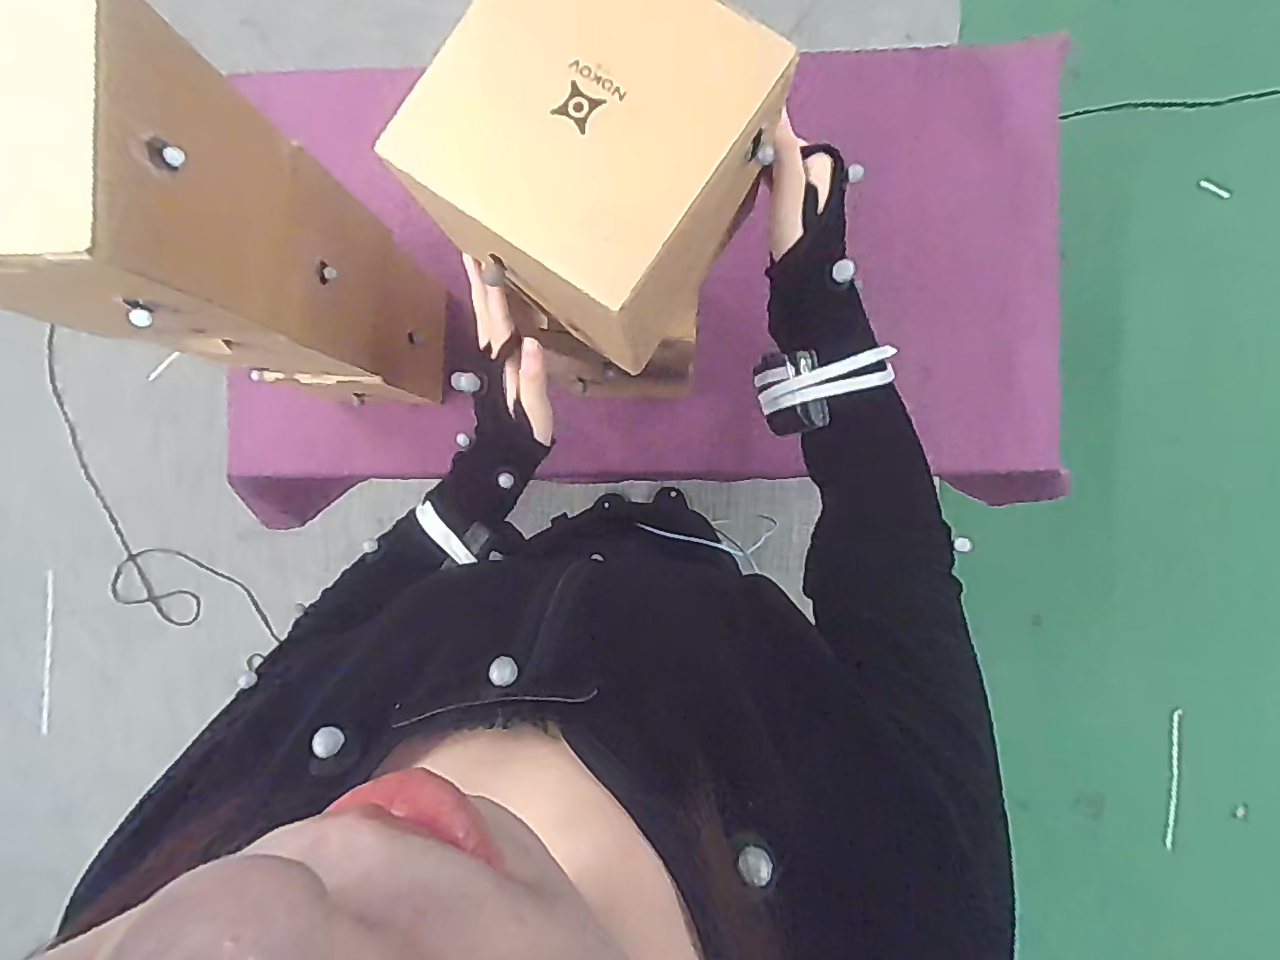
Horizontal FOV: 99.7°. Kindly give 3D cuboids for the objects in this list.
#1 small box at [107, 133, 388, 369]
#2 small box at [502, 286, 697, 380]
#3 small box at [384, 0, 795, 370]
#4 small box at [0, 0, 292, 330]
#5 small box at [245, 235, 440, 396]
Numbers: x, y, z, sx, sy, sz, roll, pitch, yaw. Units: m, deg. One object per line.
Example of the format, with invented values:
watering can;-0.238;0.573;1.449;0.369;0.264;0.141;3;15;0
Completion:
small box;-0.378;-0.217;0.549;0.168;0.176;0.179;4;89;1
small box;-0.027;-0.209;0.540;0.168;0.176;0.179;5;90;2
small box;-0.026;-0.201;0.376;0.168;0.176;0.179;37;90;1
small box;-0.382;-0.214;0.386;0.168;0.176;0.179;2;90;1
small box;-0.378;-0.209;0.713;0.168;0.176;0.179;3;91;1
